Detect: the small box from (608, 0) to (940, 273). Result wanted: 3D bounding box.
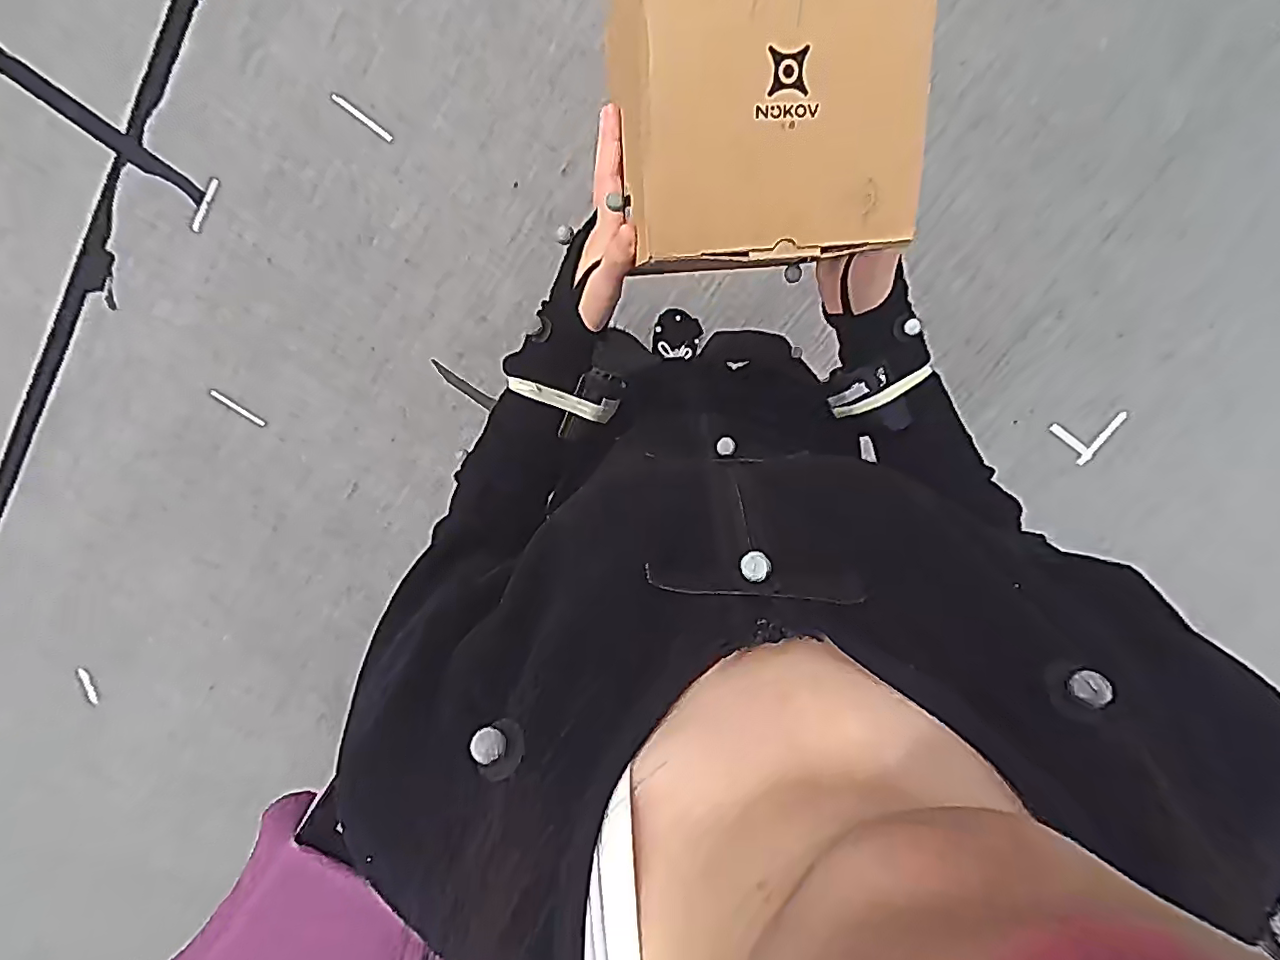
[{"bbox_3d":[0.071,-0.239,0.368,0.168,0.176,0.179,-7,107,-6],"label":"small box"}]
